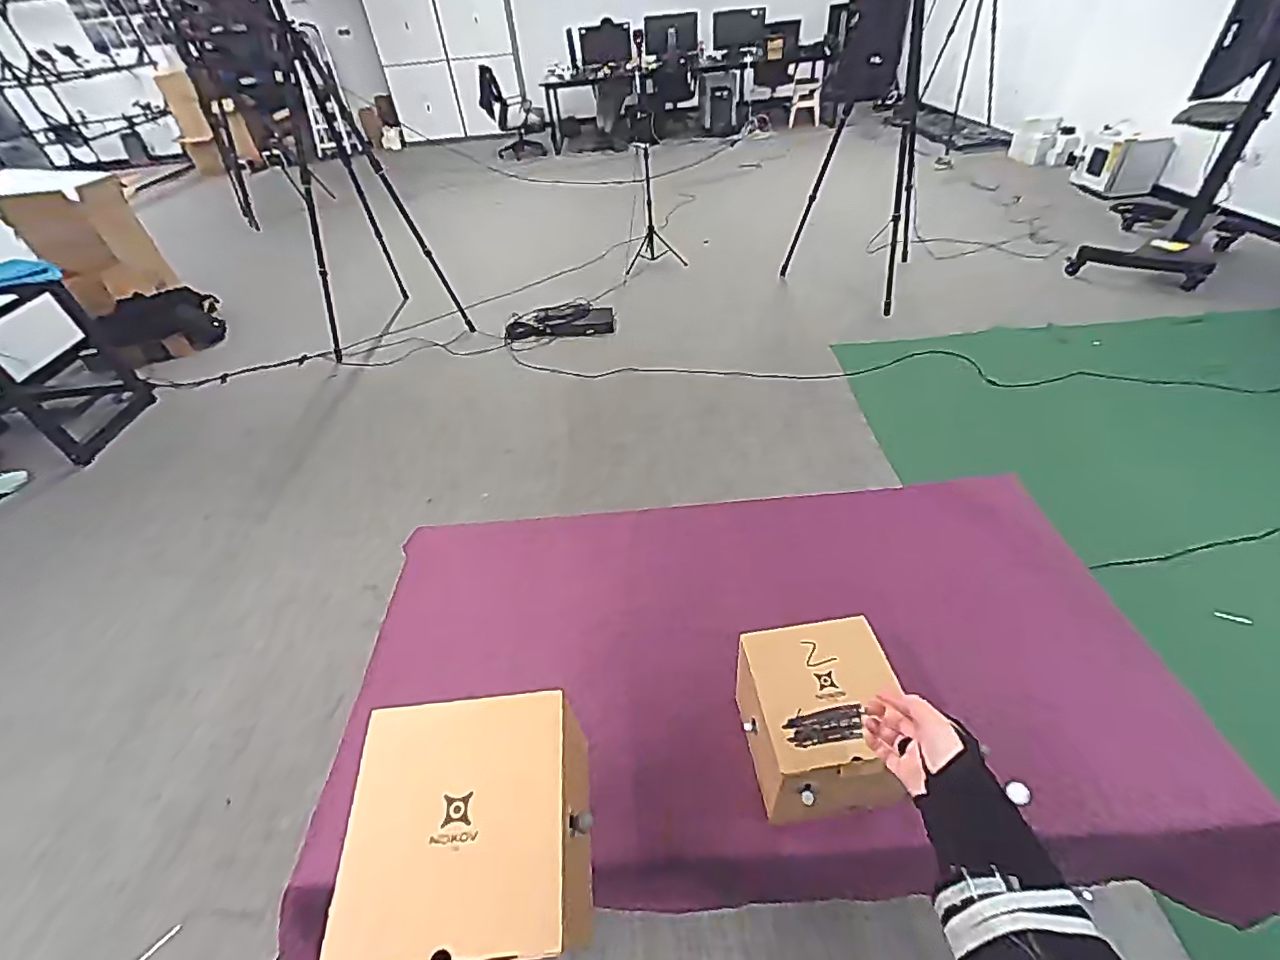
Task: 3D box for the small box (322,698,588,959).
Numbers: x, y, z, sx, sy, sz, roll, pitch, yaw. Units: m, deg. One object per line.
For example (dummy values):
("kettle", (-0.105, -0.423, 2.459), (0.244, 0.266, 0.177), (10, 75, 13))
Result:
("small box", (-0.138, 0.313, 0.478), (0.168, 0.176, 0.179), (-6, 52, -1))
